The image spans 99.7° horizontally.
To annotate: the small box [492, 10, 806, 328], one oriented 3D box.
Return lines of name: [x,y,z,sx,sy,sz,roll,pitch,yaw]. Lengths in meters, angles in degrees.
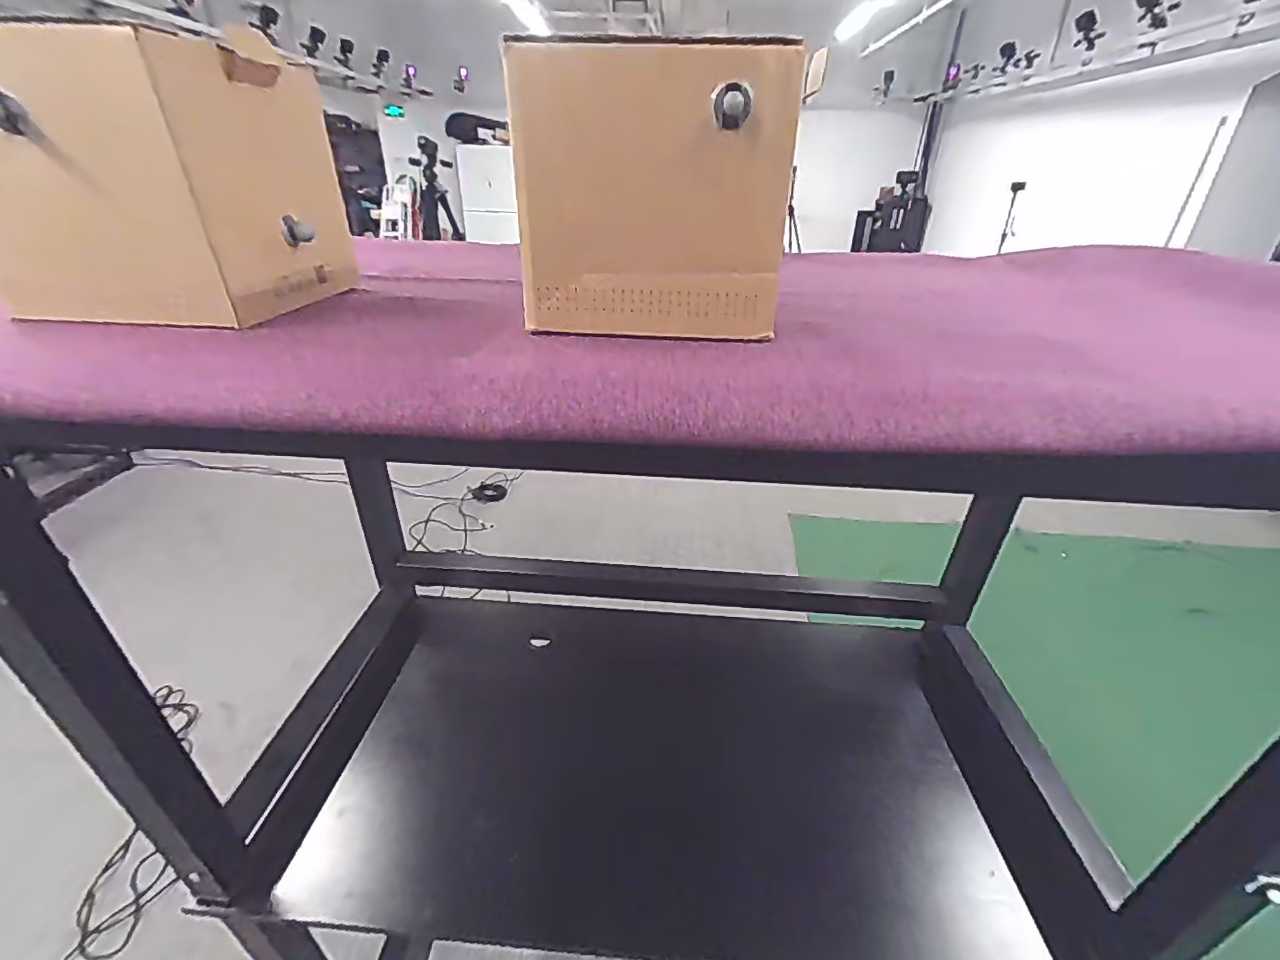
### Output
small box: [0.008,-0.212,0.399,0.179,0.176,0.168,3,28,3]

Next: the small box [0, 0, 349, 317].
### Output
small box: [-0.355,-0.223,0.398,0.179,0.176,0.168,3,31,2]
